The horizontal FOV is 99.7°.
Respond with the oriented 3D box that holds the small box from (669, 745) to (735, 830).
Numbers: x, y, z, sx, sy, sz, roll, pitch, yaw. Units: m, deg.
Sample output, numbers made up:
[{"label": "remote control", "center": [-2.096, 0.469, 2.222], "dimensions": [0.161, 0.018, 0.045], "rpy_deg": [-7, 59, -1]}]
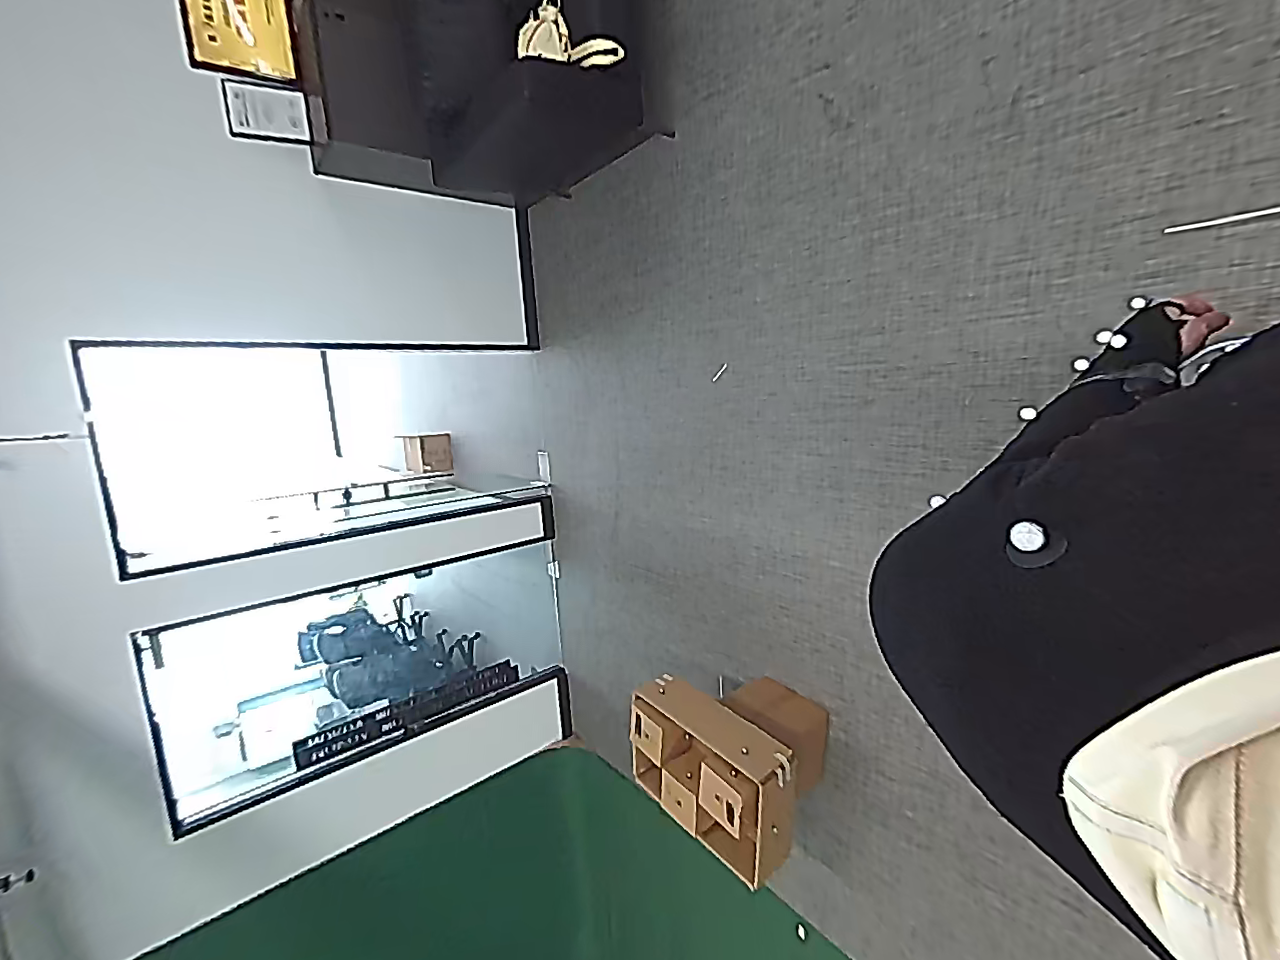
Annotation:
[{"label": "small box", "center": [0.222, 1.083, 1.926], "dimensions": [0.179, 0.176, 0.168], "rpy_deg": [15, 109, 49]}]
